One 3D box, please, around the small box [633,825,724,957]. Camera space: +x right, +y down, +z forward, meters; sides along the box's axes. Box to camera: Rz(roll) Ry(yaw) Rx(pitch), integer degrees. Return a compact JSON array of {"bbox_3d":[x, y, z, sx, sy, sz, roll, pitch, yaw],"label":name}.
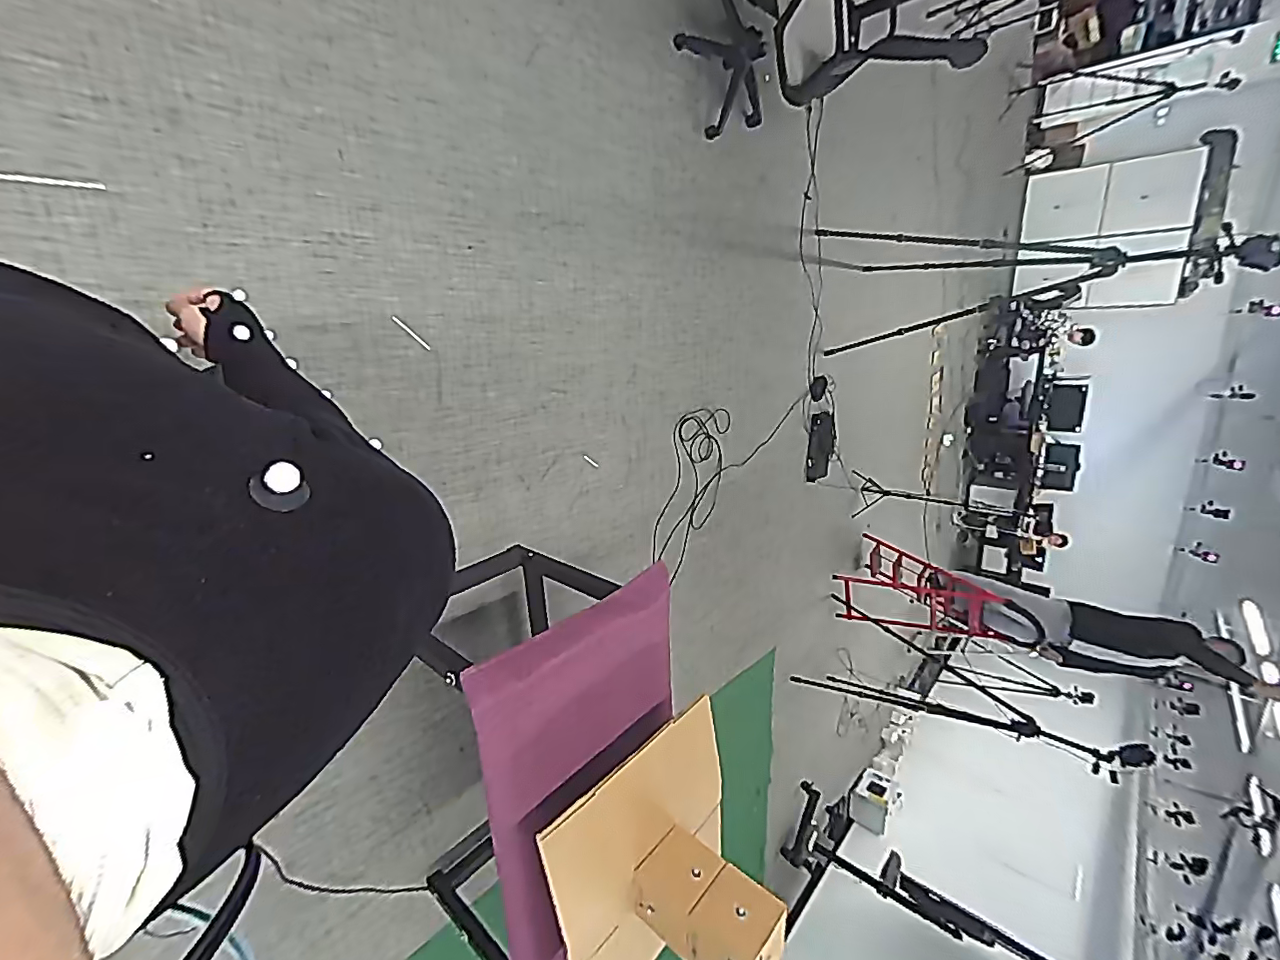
[{"bbox_3d":[0.100,1.053,1.405,0.179,0.176,0.168,-20,115,-44],"label":"small box"}]
